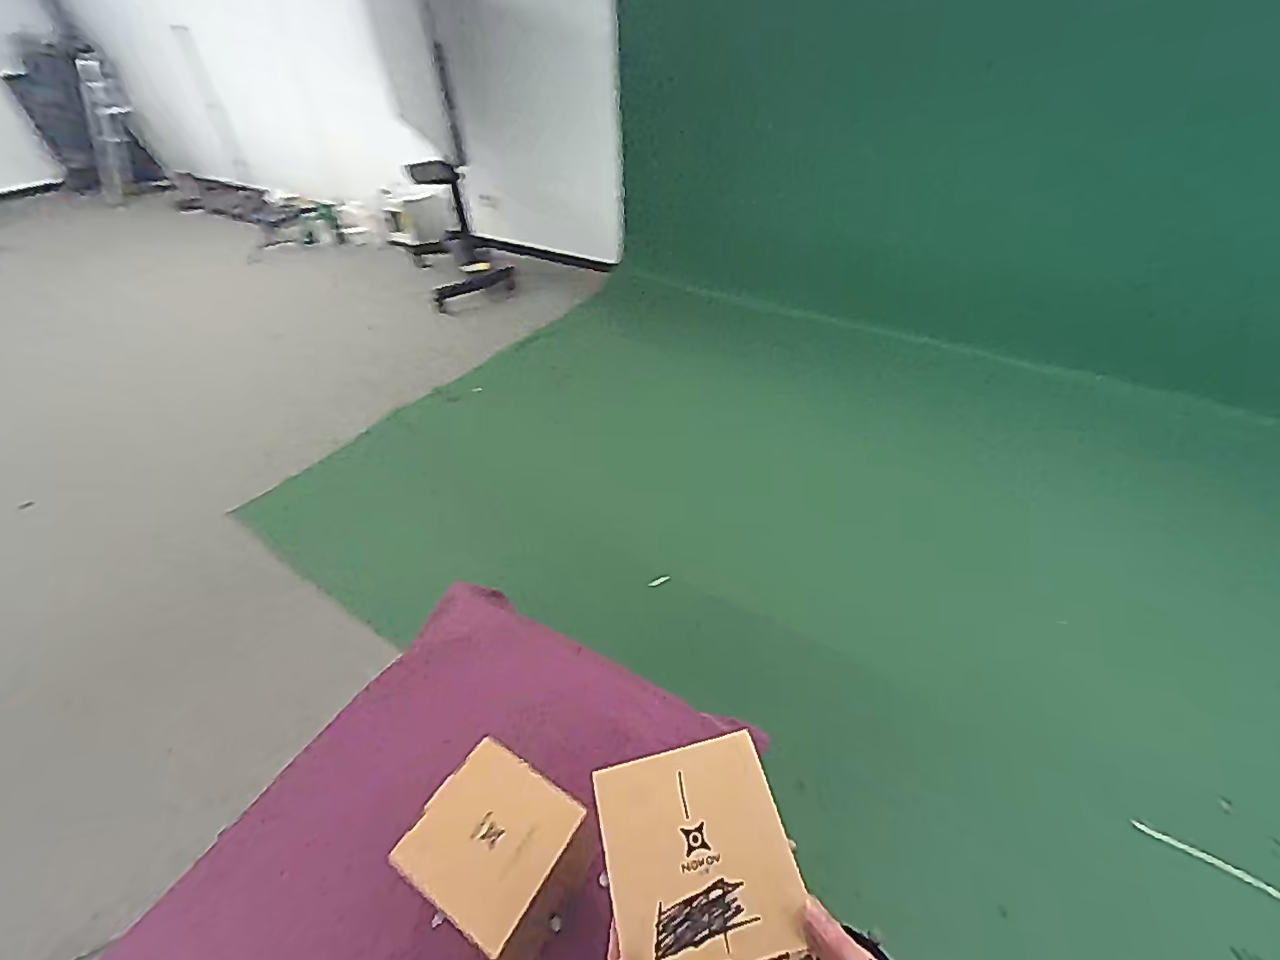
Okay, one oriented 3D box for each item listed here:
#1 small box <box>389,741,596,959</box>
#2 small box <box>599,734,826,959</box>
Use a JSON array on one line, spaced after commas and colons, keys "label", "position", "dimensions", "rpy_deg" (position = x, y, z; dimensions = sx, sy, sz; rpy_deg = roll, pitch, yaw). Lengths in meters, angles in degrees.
[{"label": "small box", "position": [-0.176, 0.484, 0.695], "dimensions": [0.179, 0.176, 0.168], "rpy_deg": [21, 48, 25]}, {"label": "small box", "position": [0.062, 0.386, 0.538], "dimensions": [0.168, 0.176, 0.179], "rpy_deg": [-12, 46, -5]}]
